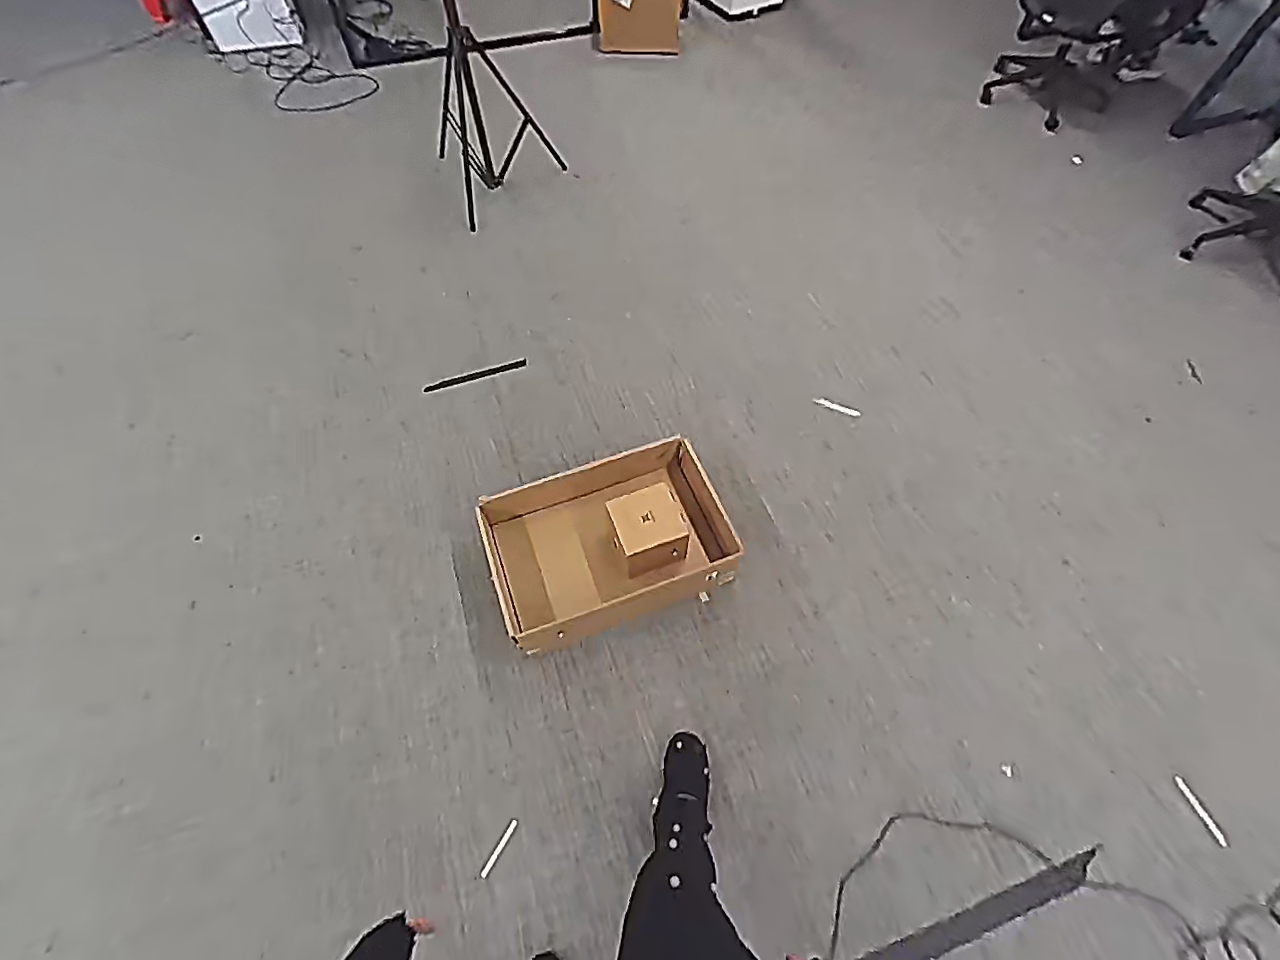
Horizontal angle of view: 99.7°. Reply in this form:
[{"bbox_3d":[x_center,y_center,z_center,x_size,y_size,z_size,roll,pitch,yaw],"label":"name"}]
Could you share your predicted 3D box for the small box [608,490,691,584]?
[{"bbox_3d":[0.023,0.157,1.465,0.179,0.176,0.168,-20,60,-10],"label":"small box"}]
